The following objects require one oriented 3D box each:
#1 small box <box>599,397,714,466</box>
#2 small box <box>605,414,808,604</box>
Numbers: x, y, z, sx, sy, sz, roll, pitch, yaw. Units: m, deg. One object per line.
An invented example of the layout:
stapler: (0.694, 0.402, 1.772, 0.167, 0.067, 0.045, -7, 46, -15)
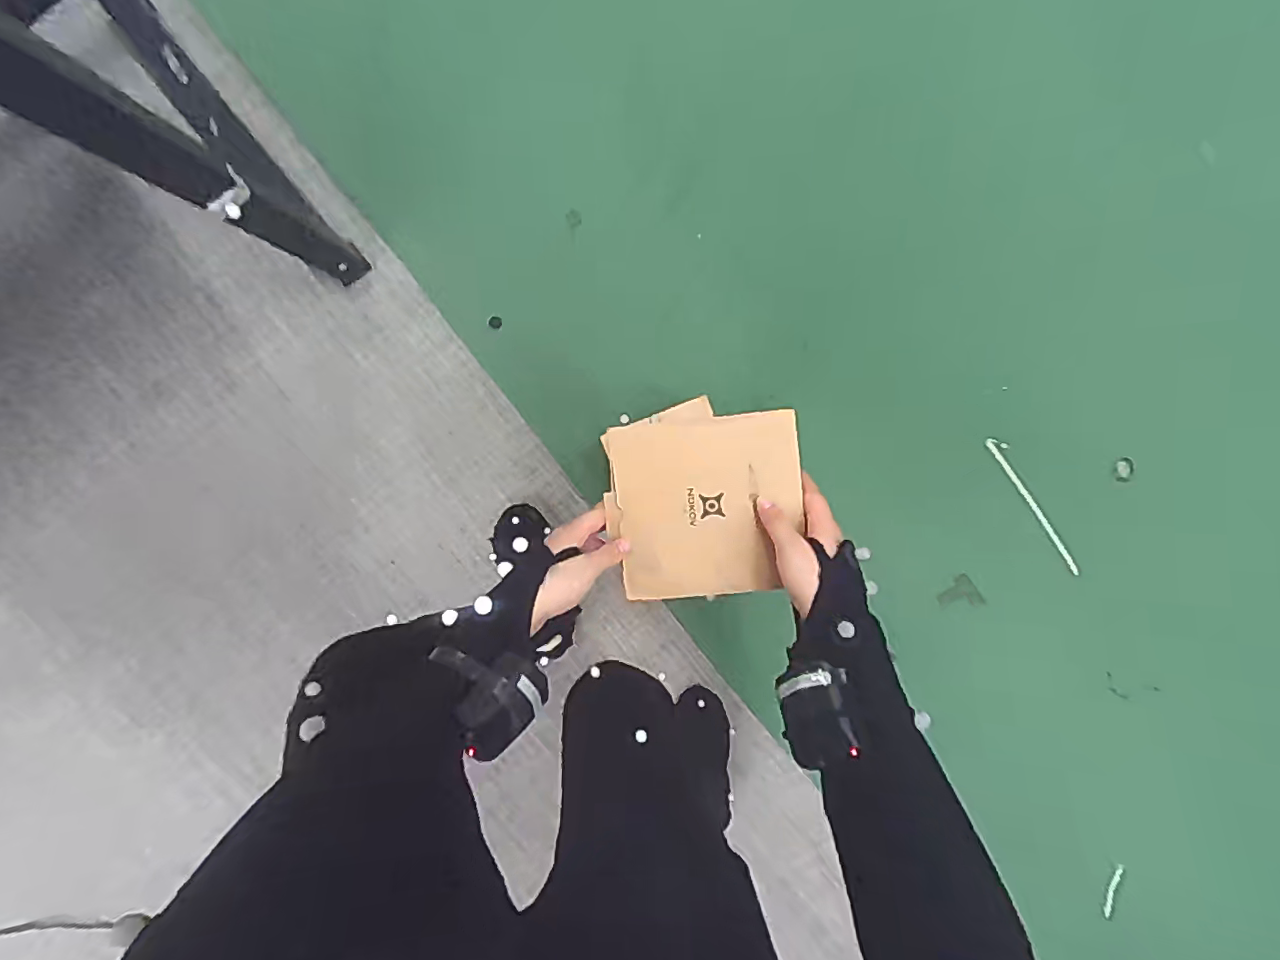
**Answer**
small box: (0.044, -0.027, 0.890, 0.179, 0.176, 0.168, -21, 97, 0)
small box: (0.067, 0.027, 0.579, 0.179, 0.176, 0.168, -6, 91, 4)
